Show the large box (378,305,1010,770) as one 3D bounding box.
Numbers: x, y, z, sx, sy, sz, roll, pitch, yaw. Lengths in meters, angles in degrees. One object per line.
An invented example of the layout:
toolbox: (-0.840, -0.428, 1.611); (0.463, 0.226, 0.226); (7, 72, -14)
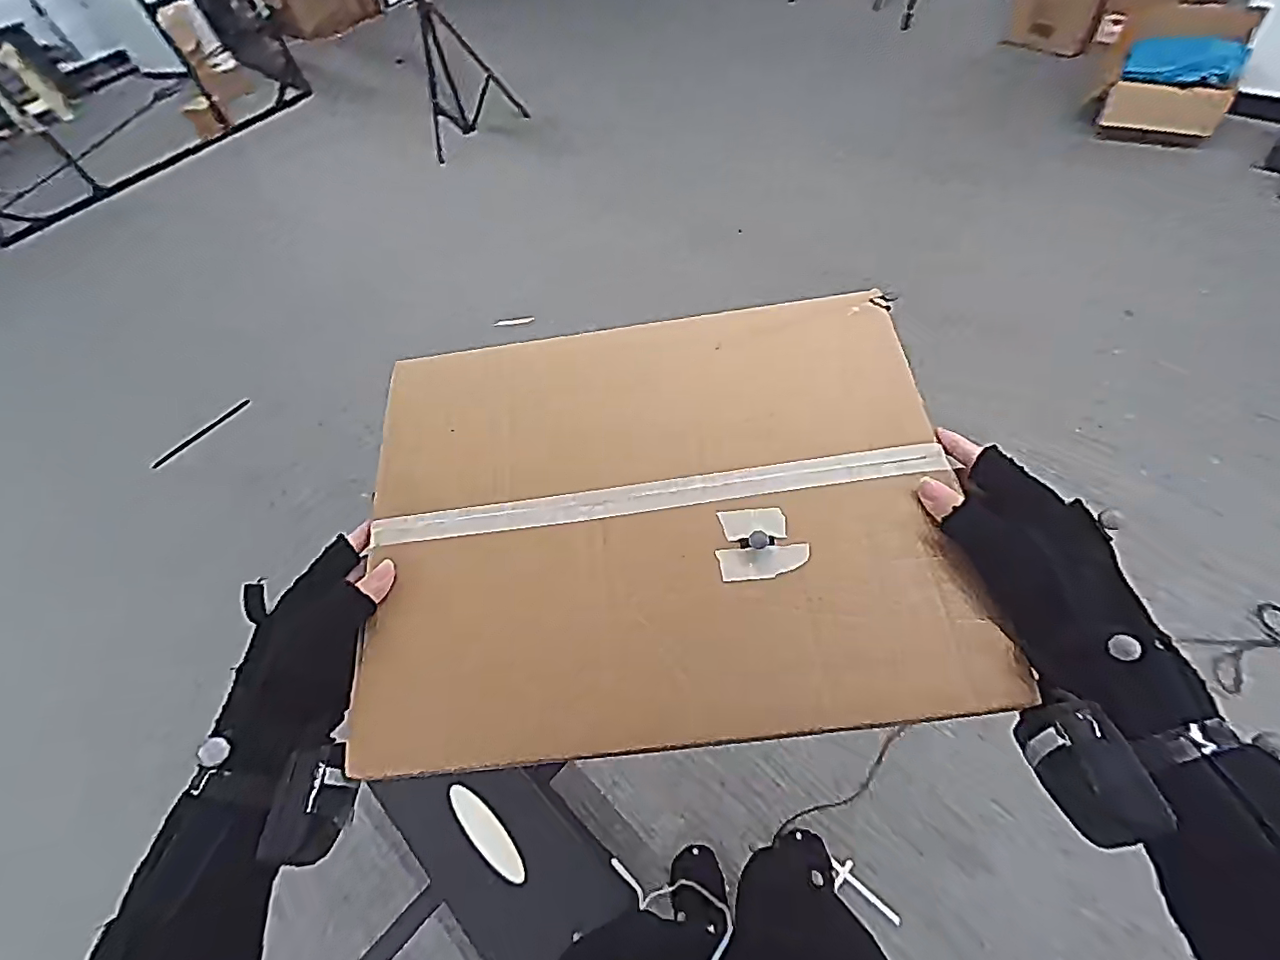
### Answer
large box: (0.026, 0.081, 0.530); (0.408, 0.320, 0.320); (-8, 64, 2)
